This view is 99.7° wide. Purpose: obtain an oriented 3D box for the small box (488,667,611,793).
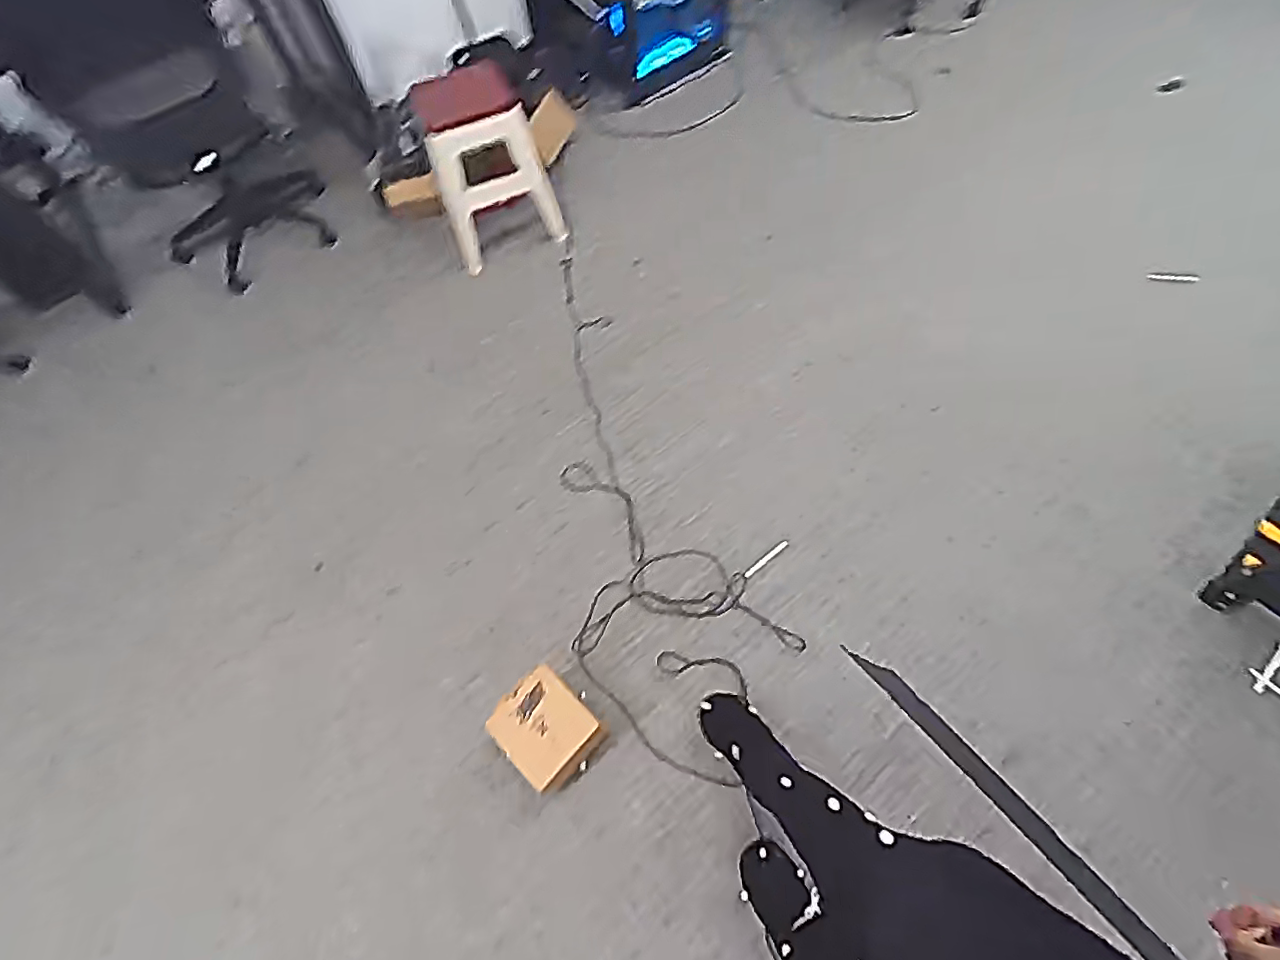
[{"bbox_3d":[-0.184,0.531,1.147,0.179,0.176,0.168,39,73,23],"label":"small box"}]
